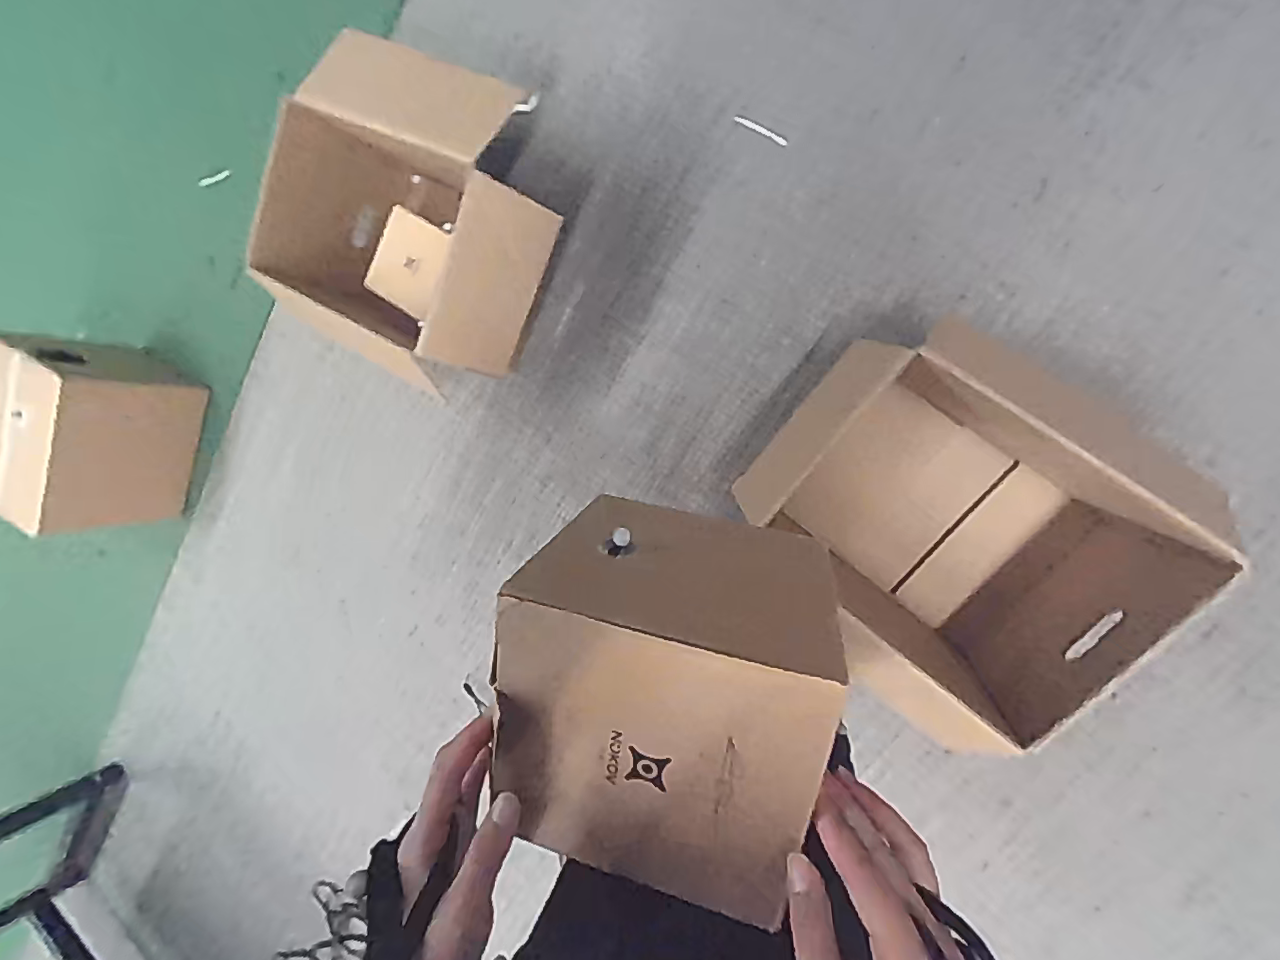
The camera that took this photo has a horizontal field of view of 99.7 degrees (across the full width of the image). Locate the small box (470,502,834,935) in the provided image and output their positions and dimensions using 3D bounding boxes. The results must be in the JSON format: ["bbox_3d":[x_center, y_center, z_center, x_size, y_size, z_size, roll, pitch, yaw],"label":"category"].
[{"bbox_3d":[0.013,0.124,0.349,0.179,0.176,0.168,11,109,12],"label":"small box"}]

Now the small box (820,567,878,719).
[{"bbox_3d":[0.261,0.270,0.907,0.176,0.168,0.179,-24,98,46],"label":"small box"}]
